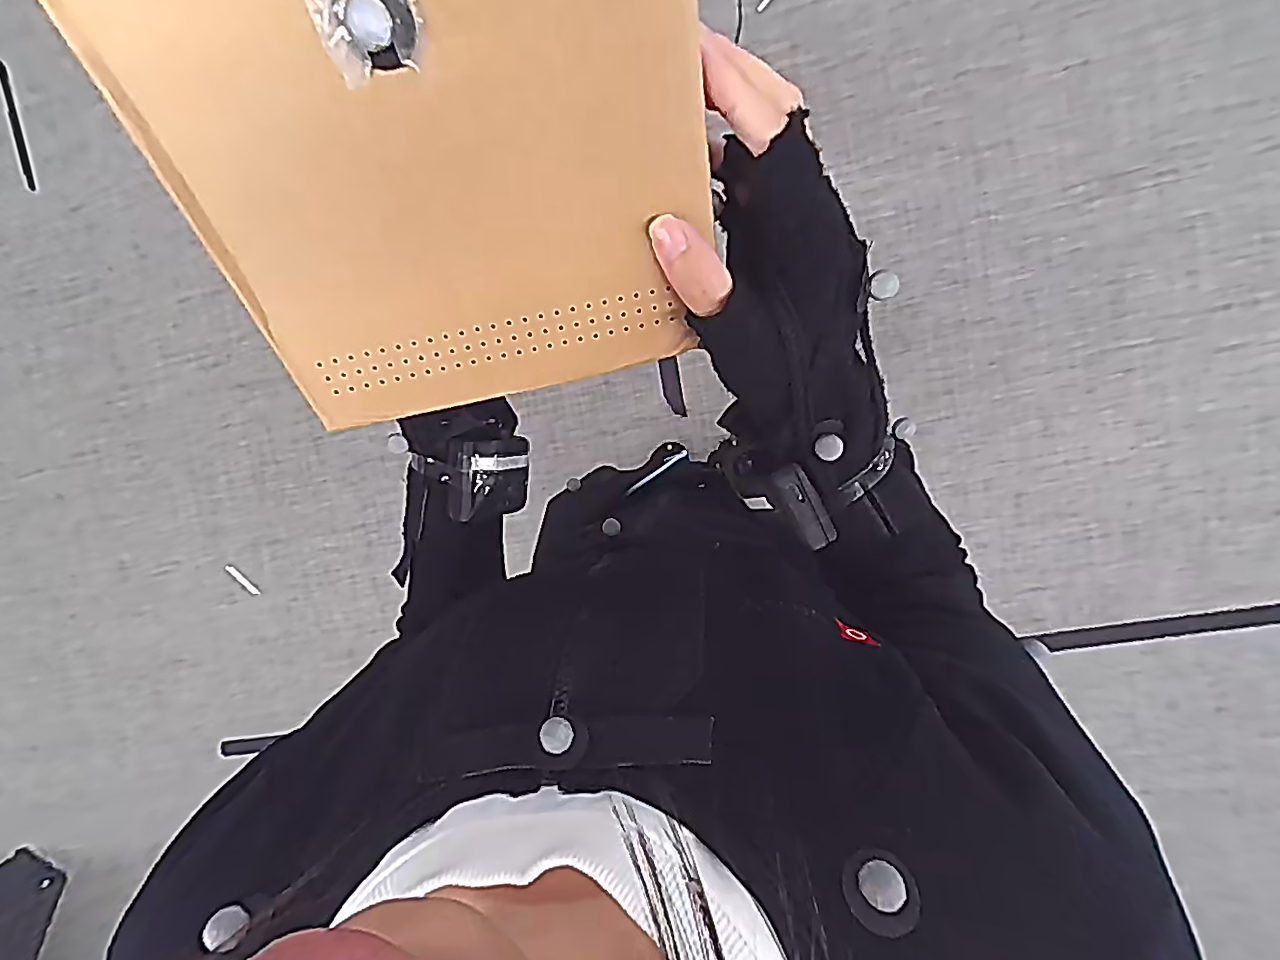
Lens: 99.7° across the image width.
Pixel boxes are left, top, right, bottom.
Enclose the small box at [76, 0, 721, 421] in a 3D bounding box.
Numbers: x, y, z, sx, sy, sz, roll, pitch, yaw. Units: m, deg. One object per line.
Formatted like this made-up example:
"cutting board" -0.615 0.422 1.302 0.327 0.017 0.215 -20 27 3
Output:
"small box" -0.069 -0.146 0.245 0.179 0.168 0.176 -11 132 1
